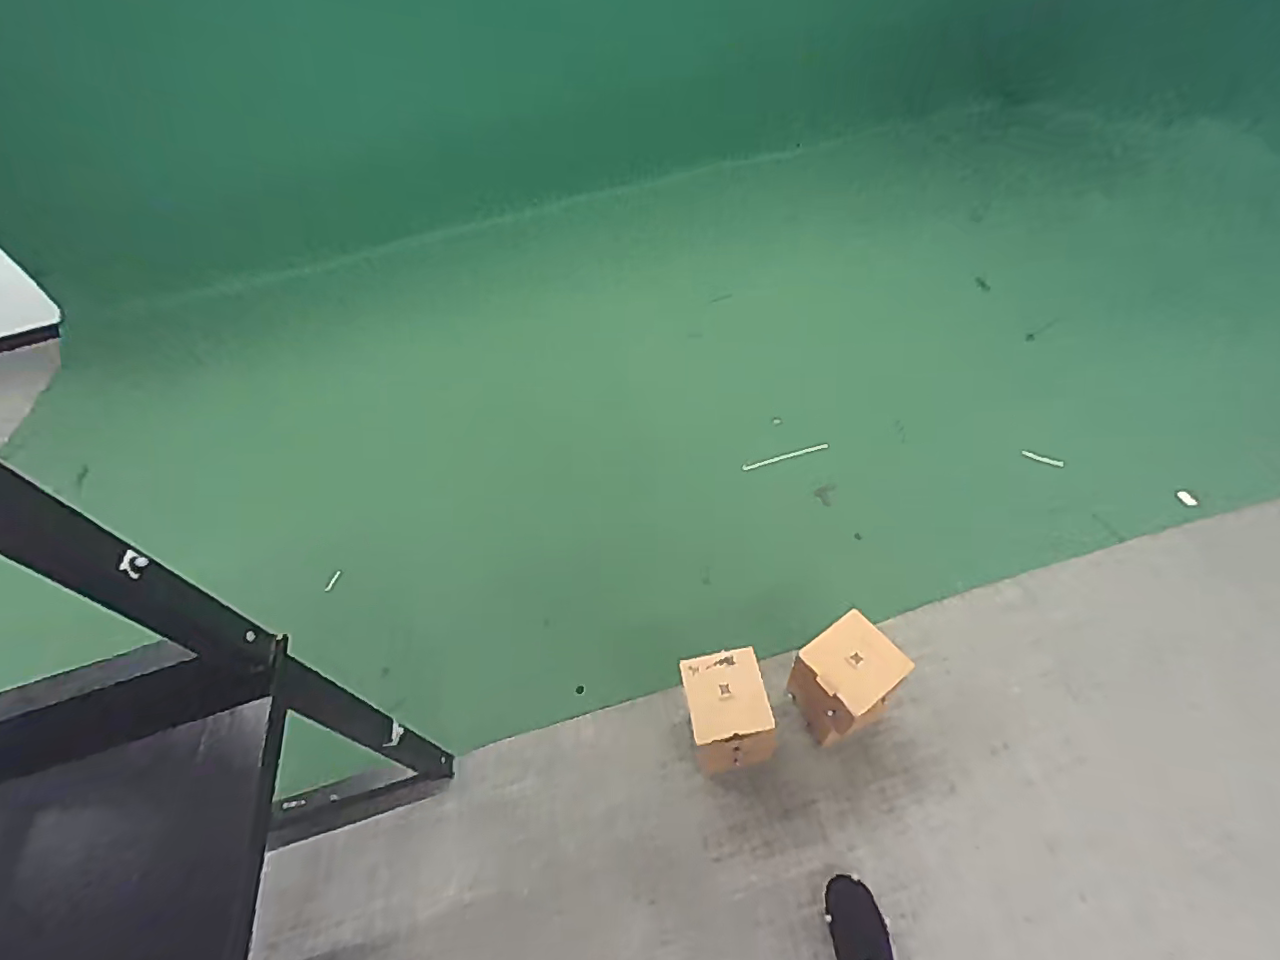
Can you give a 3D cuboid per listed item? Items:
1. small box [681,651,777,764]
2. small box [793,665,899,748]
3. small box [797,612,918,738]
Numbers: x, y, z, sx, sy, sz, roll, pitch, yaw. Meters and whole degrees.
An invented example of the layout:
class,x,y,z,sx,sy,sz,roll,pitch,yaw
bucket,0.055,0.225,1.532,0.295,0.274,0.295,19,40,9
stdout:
class,x,y,z,sx,sy,sz,roll,pitch,yaw
small box,0.190,0.497,1.166,0.168,0.176,0.179,-12,50,1
small box,0.486,0.522,1.309,0.179,0.176,0.168,-21,51,-9
small box,0.460,0.429,1.178,0.179,0.176,0.168,-31,54,-17
